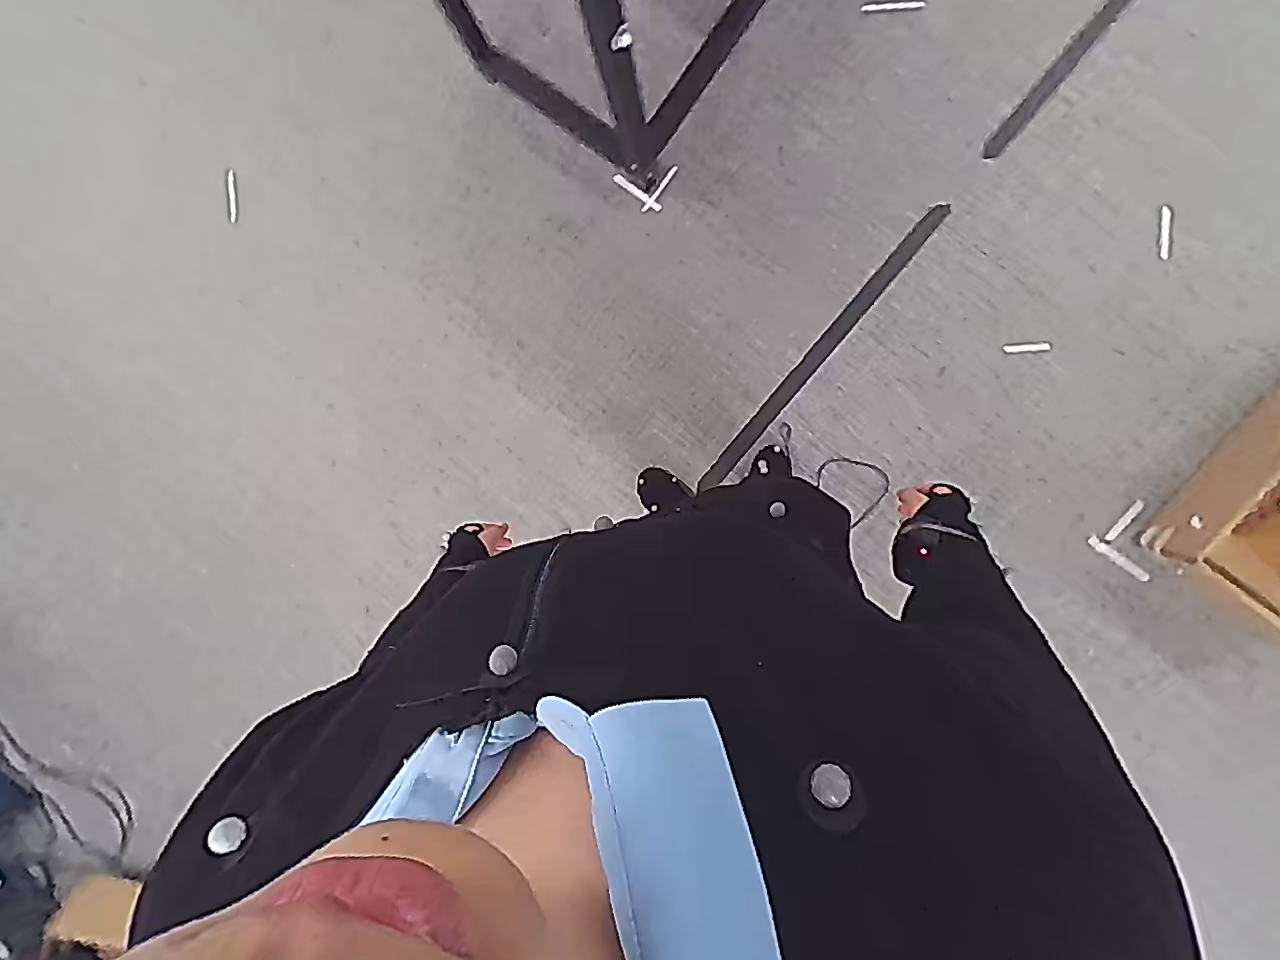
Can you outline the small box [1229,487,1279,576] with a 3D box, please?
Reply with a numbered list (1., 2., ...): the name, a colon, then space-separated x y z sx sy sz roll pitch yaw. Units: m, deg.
1. small box: 1.515 0.130 1.205 0.179 0.176 0.168 43 97 3
